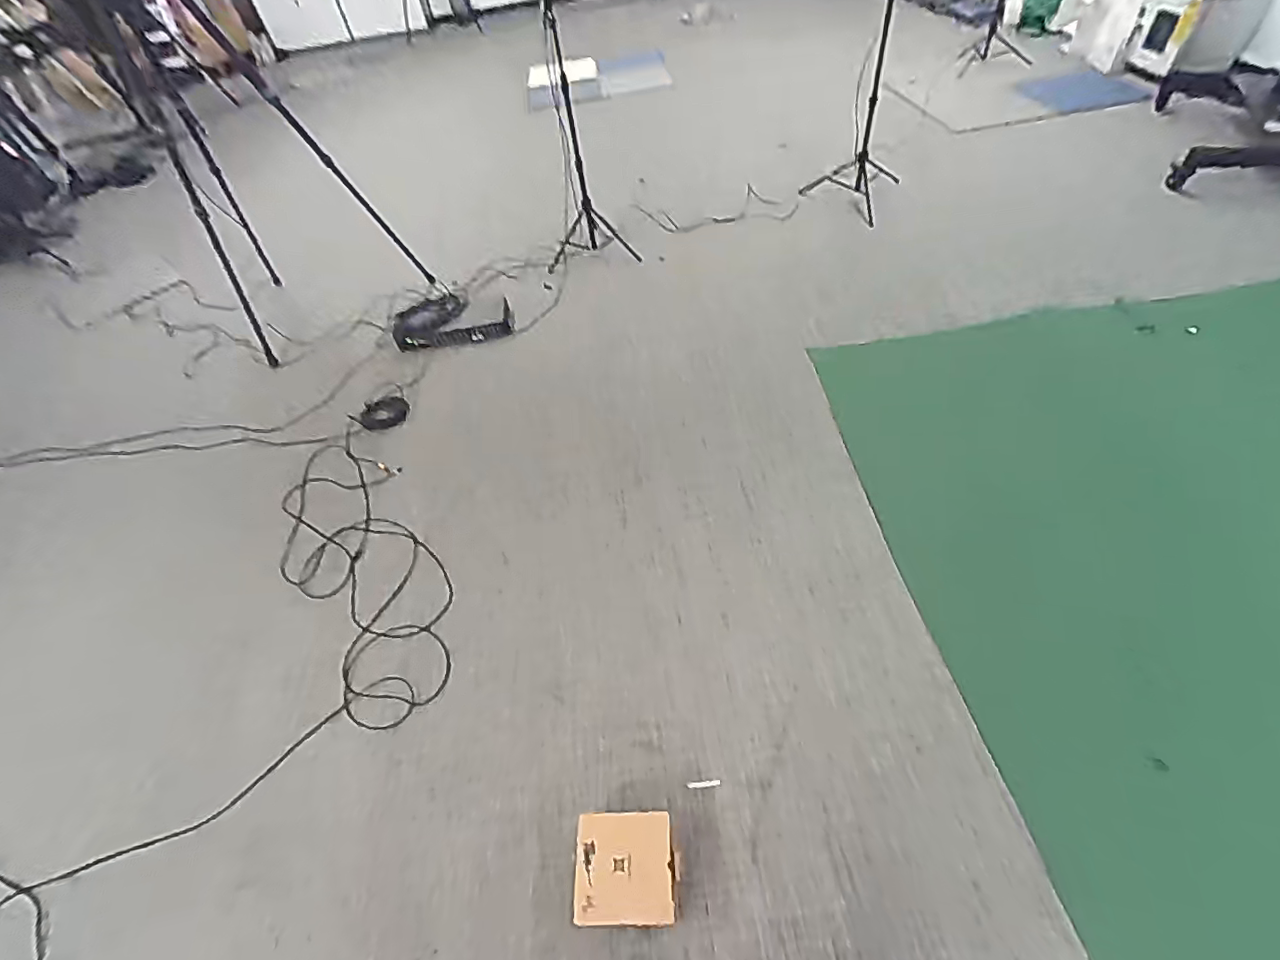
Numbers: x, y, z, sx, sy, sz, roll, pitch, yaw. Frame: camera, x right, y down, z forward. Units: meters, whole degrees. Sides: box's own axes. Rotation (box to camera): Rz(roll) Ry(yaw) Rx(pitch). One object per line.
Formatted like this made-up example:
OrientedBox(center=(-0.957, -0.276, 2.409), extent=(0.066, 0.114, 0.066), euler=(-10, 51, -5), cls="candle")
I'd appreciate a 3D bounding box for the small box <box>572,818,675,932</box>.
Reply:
OrientedBox(center=(-0.023, 0.748, 1.026), extent=(0.179, 0.176, 0.168), euler=(-4, 51, 4), cls="small box")
